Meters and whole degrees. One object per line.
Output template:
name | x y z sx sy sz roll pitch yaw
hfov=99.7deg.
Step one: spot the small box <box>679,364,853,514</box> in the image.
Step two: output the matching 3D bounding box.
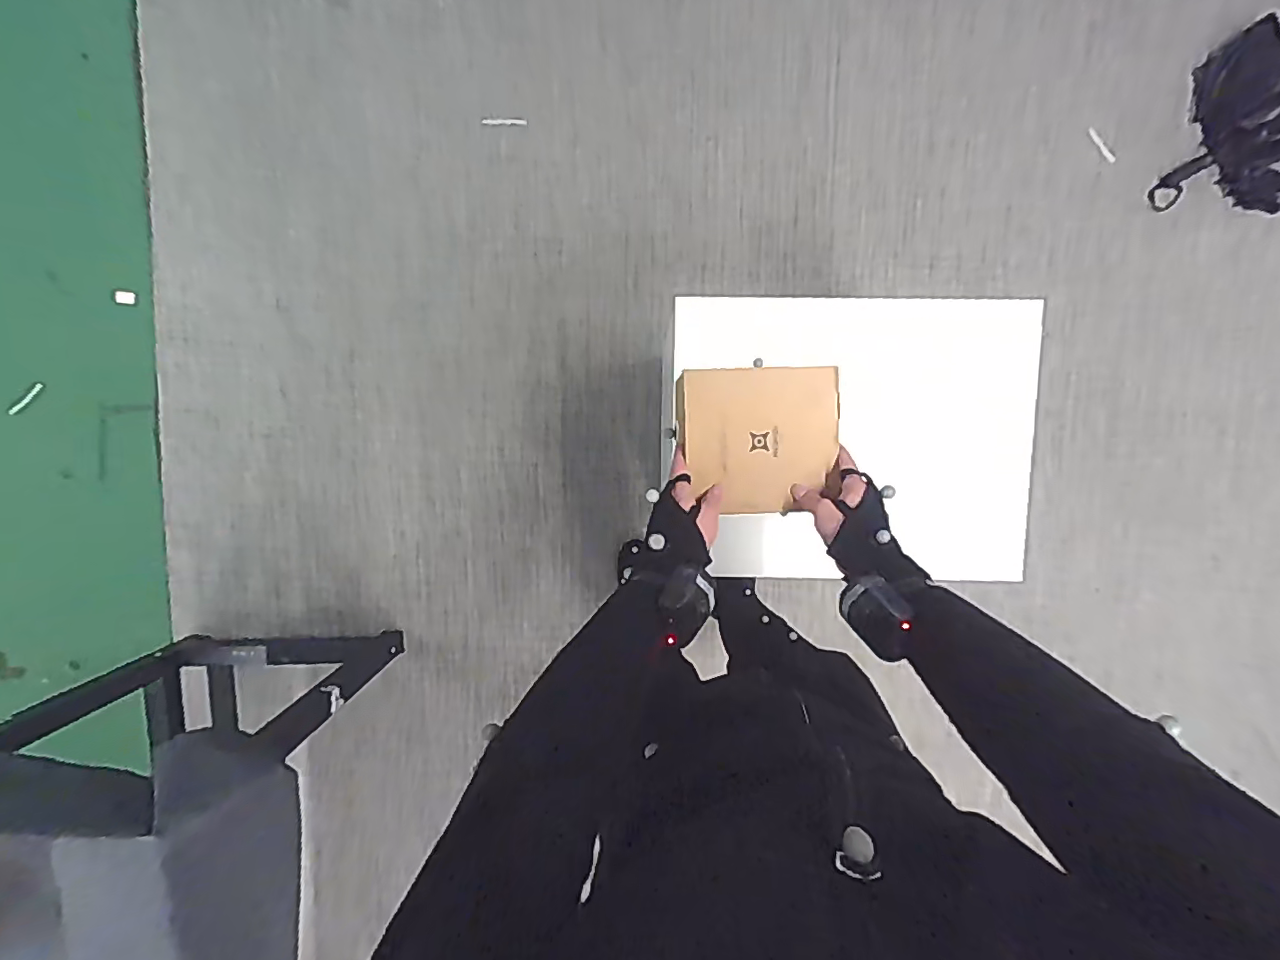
small box | 0.144 -0.050 0.672 0.179 0.176 0.168 -1 93 -1
